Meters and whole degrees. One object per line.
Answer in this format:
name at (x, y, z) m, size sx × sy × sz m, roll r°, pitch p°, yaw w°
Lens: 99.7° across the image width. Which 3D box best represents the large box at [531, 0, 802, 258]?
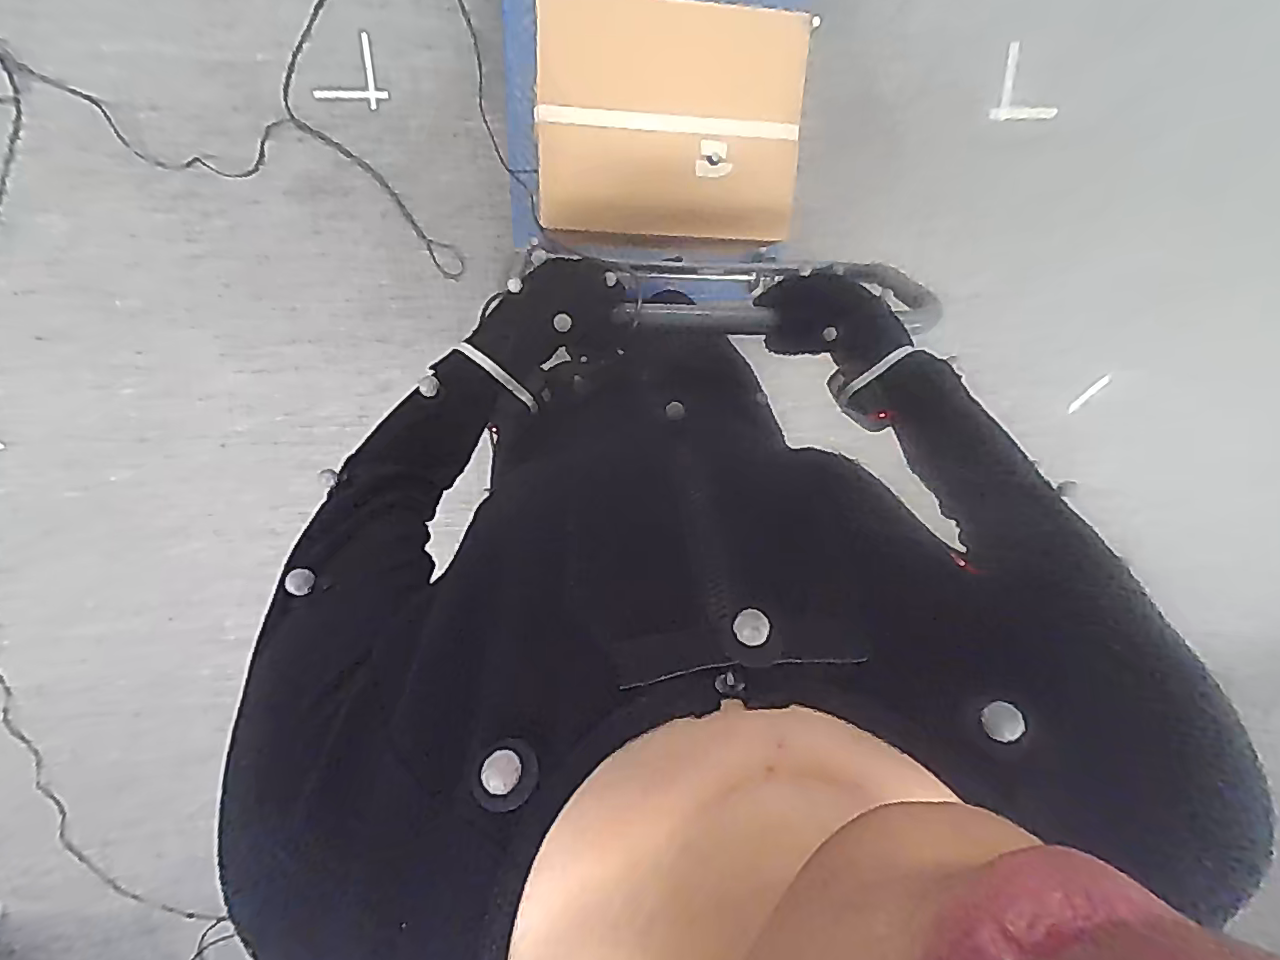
large box at (0.022, -0.577, 0.964) m, size 0.408 × 0.320 × 0.320 m, roll -1°, pitch 109°, yaw -8°
